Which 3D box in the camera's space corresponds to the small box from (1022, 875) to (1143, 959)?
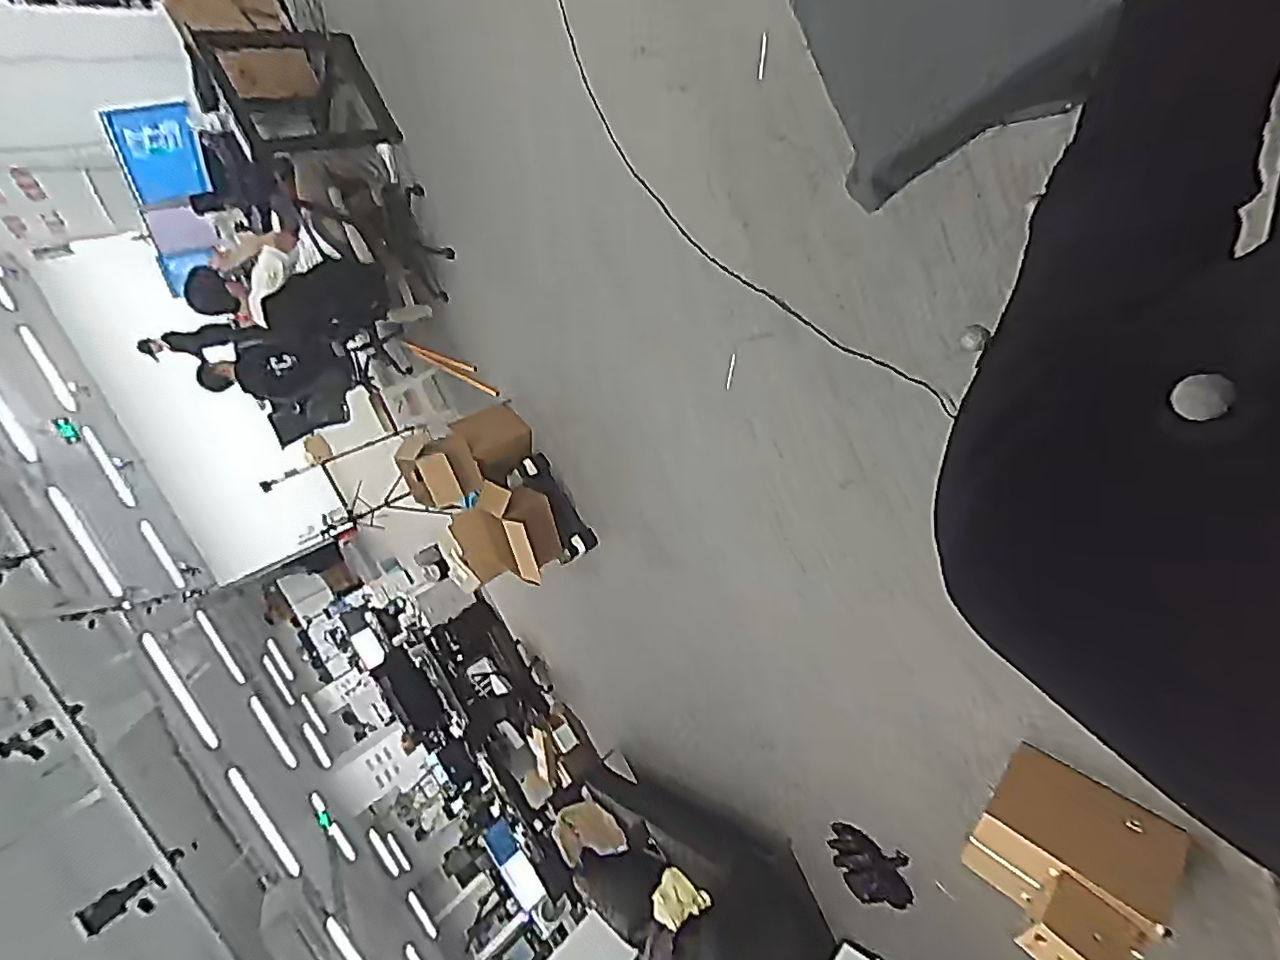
[{"bbox_3d":[1.126,1.169,1.377,0.179,0.176,0.168,31,138,39],"label":"small box"}]
